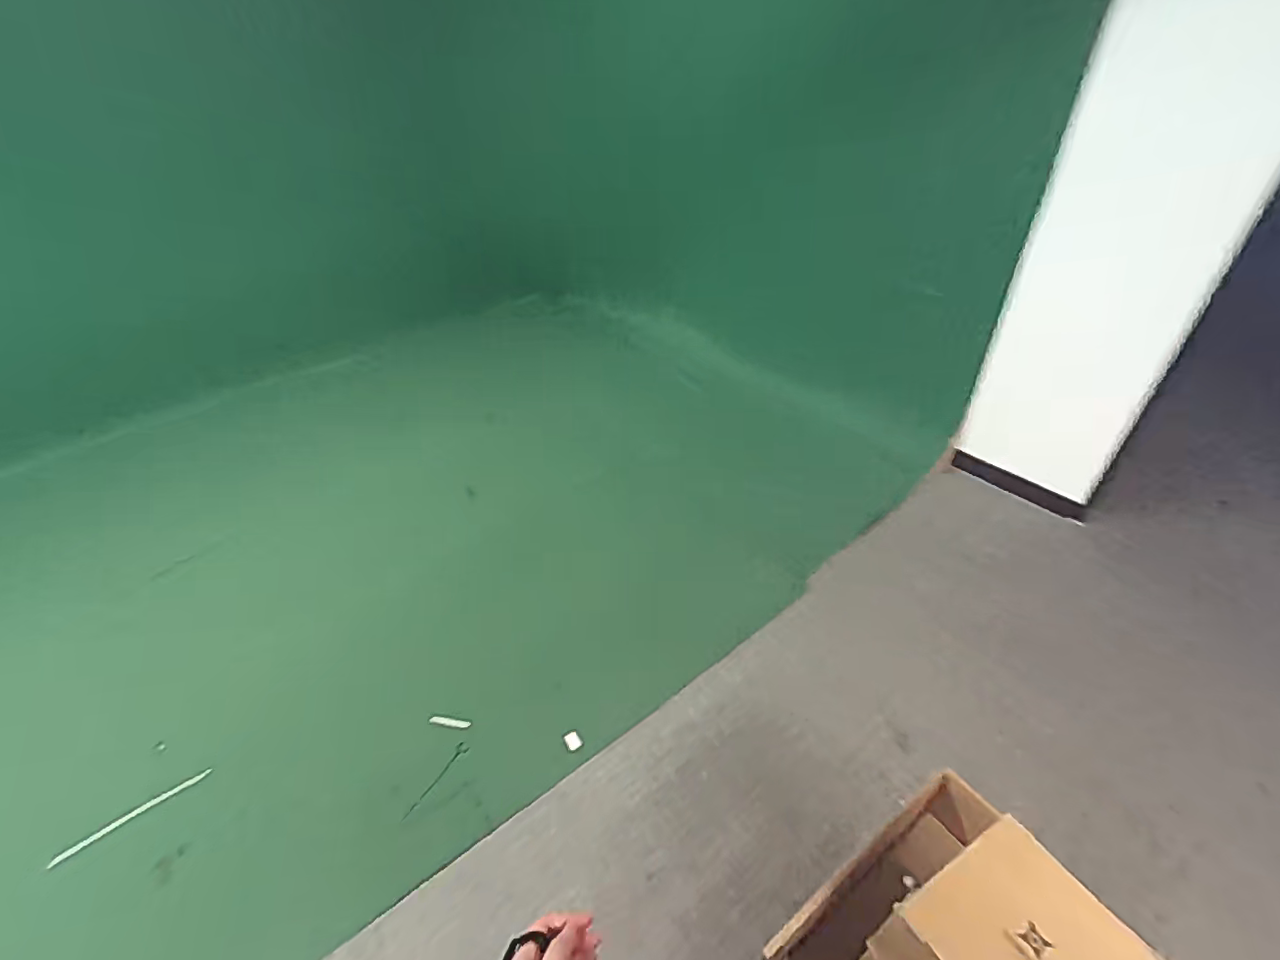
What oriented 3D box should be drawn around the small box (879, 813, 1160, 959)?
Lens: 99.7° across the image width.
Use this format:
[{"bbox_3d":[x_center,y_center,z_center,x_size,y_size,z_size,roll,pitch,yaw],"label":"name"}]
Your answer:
[{"bbox_3d":[0.385,0.503,0.572,0.179,0.176,0.168,-24,43,-18],"label":"small box"}]
